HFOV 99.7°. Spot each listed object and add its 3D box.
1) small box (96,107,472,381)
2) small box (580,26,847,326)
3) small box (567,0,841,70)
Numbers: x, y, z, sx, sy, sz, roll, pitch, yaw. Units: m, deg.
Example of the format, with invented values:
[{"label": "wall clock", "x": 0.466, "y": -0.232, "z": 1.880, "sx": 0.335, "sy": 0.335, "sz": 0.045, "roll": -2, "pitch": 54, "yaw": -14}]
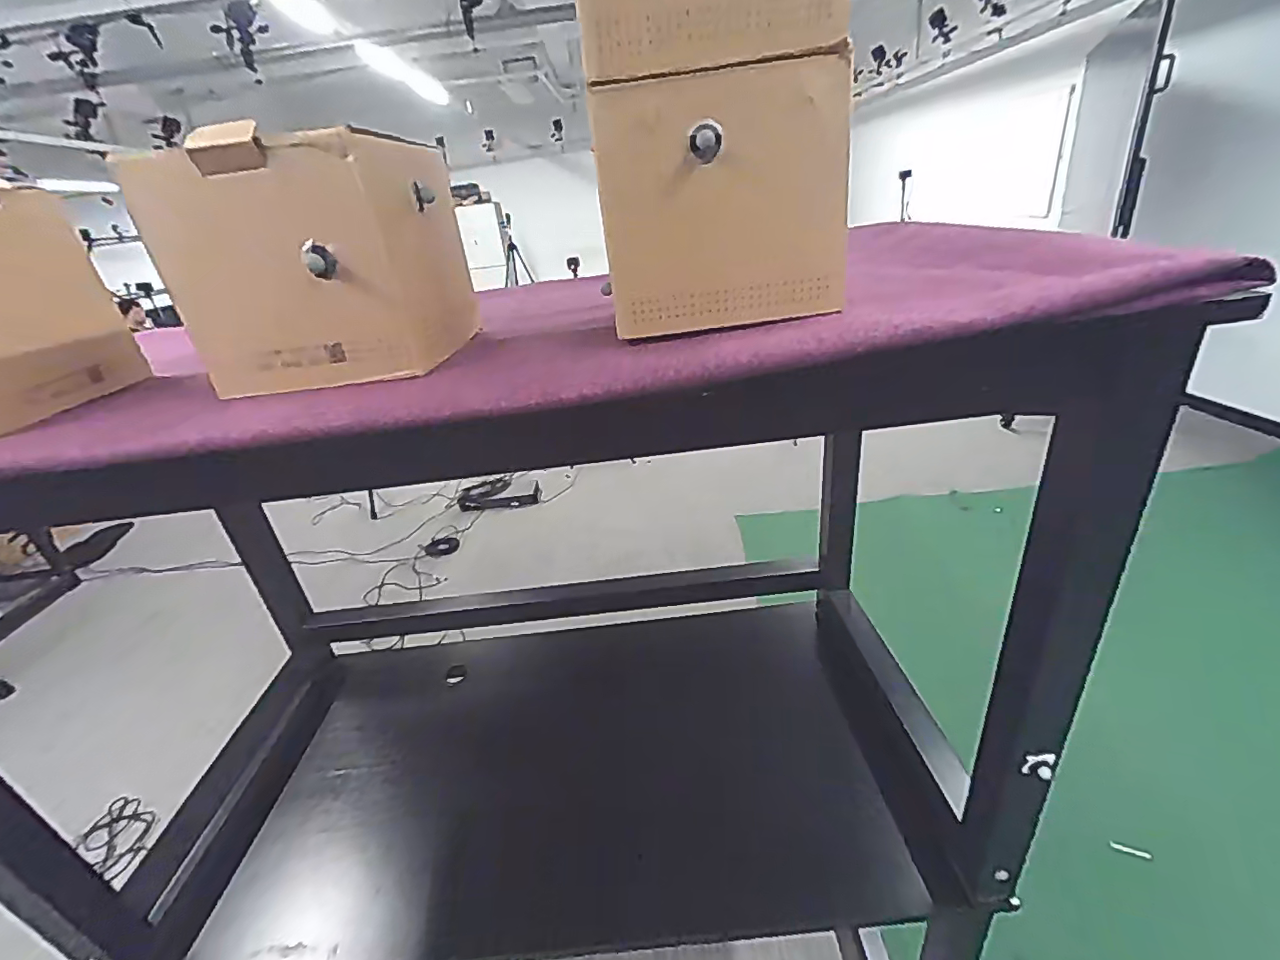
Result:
[{"label": "small box", "x": -0.254, "y": -0.183, "z": 0.445, "sx": 0.168, "sy": 0.176, "sz": 0.179, "roll": -5, "pitch": 26, "yaw": 2}, {"label": "small box", "x": 0.056, "y": -0.228, "z": 0.445, "sx": 0.179, "sy": 0.176, "sz": 0.168, "roll": -7, "pitch": 24, "yaw": 1}, {"label": "small box", "x": 0.033, "y": -0.377, "z": 0.382, "sx": 0.179, "sy": 0.176, "sz": 0.168, "roll": -7, "pitch": 24, "yaw": 1}]
